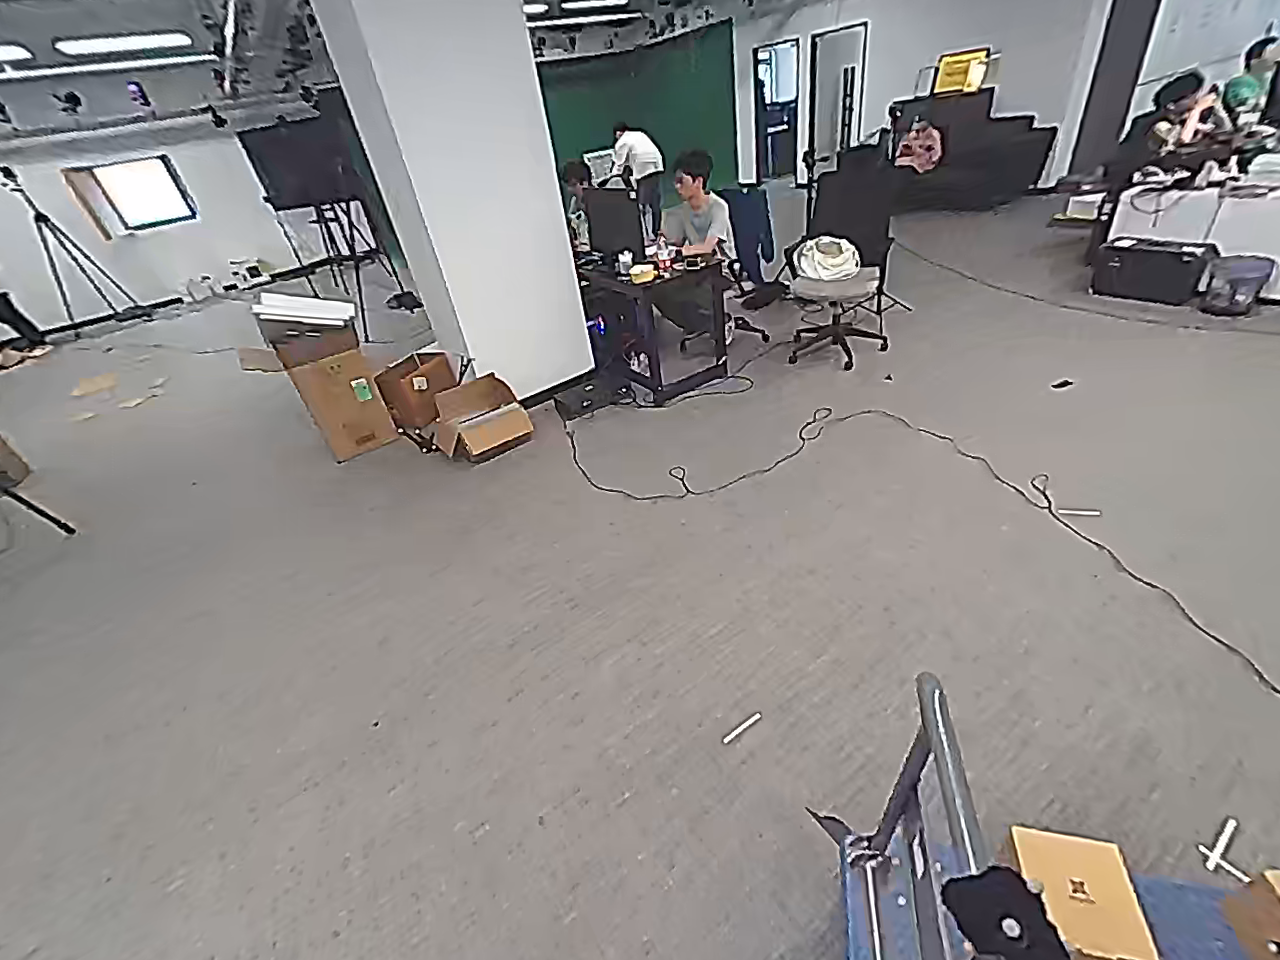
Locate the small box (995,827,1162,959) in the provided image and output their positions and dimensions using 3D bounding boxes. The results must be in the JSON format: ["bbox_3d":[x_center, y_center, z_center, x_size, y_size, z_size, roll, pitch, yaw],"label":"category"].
[{"bbox_3d":[0.757,0.760,0.957,0.168,0.176,0.179,2,38,17],"label":"small box"}]
